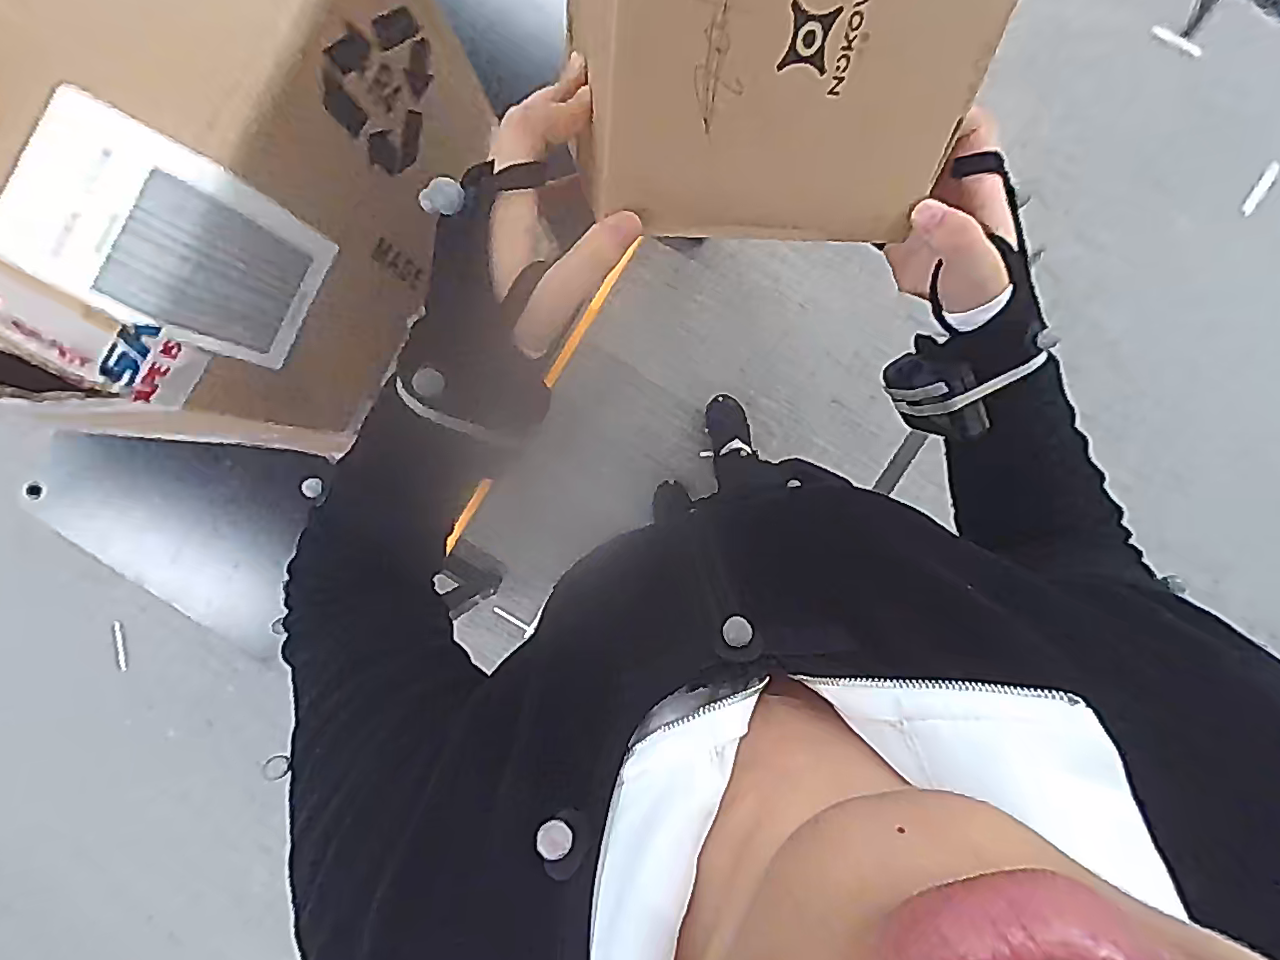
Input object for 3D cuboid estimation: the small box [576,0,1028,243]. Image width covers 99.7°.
[{"bbox_3d":[0.064,-0.241,0.281,0.179,0.176,0.168,-3,134,-11],"label":"small box"}]
